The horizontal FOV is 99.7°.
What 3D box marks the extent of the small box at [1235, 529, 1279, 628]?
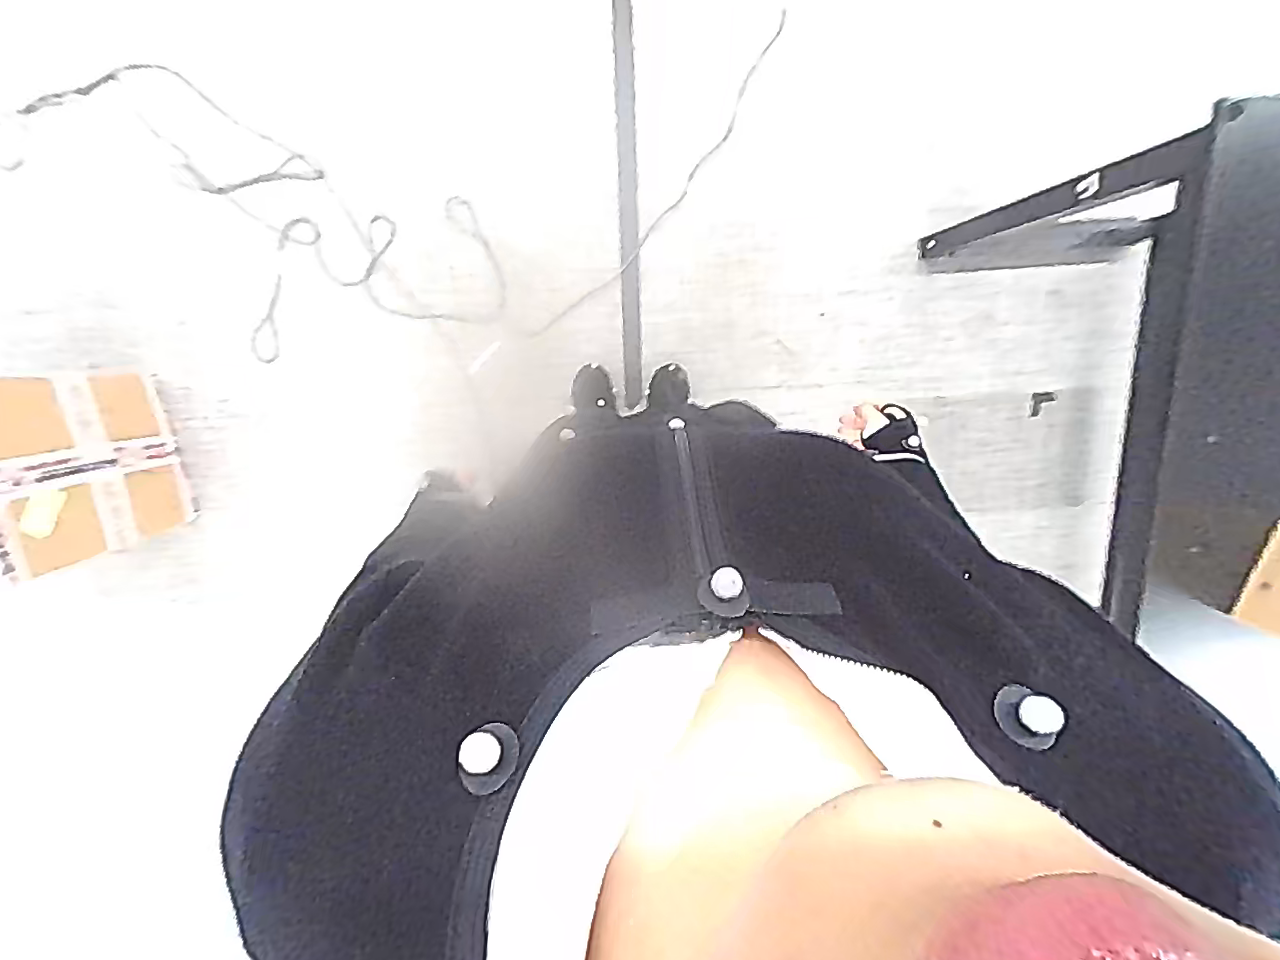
[{"bbox_3d":[1.011,0.159,0.746,0.179,0.176,0.168,14,102,-6],"label":"small box"}]
